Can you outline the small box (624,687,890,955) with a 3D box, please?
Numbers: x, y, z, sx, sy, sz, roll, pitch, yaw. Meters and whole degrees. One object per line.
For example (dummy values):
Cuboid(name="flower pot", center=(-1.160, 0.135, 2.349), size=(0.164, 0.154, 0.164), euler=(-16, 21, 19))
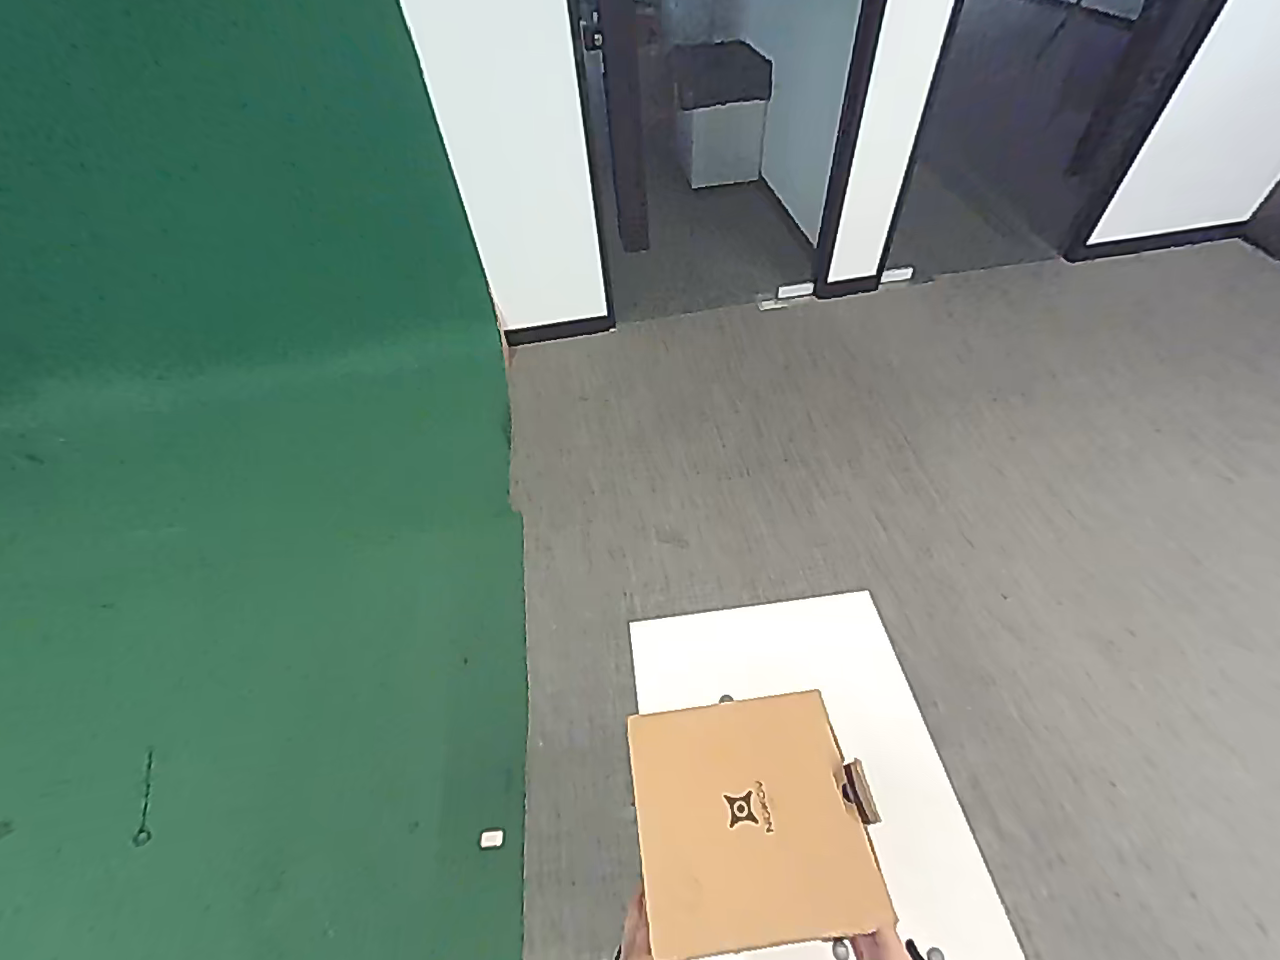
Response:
Cuboid(name="small box", center=(0.086, 0.307, 0.483), size=(0.179, 0.176, 0.168), euler=(-7, 50, -2))
